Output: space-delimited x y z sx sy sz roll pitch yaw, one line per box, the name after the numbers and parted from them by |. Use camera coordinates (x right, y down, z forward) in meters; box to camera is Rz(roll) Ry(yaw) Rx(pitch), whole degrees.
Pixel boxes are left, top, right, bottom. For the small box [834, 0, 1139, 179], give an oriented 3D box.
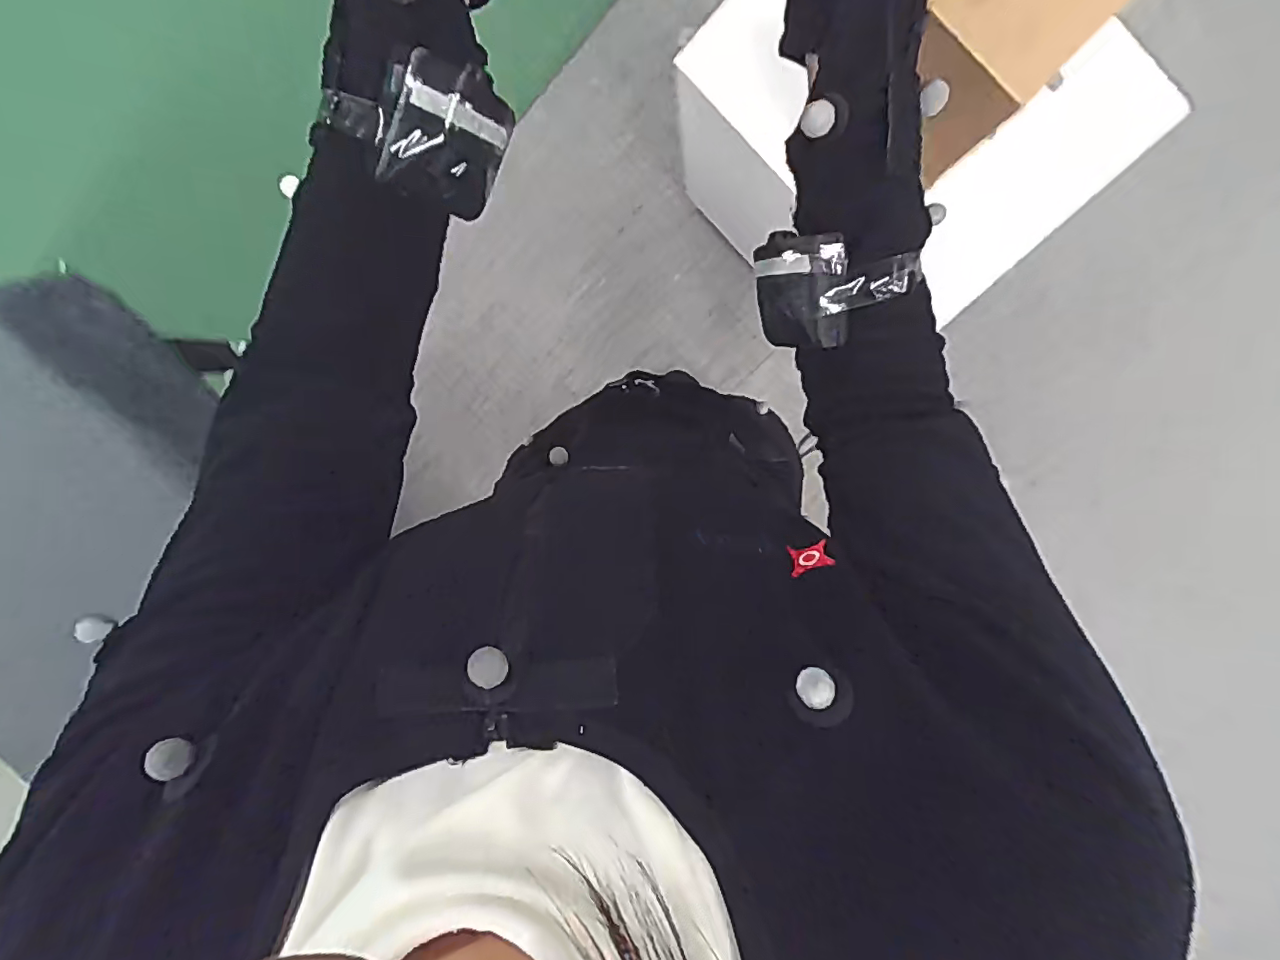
0.298 -0.406 0.460 0.168 0.176 0.179 41 100 -3 | small box

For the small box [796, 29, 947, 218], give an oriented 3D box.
0.308 -0.433 0.622 0.179 0.176 0.168 43 101 -1 | small box
